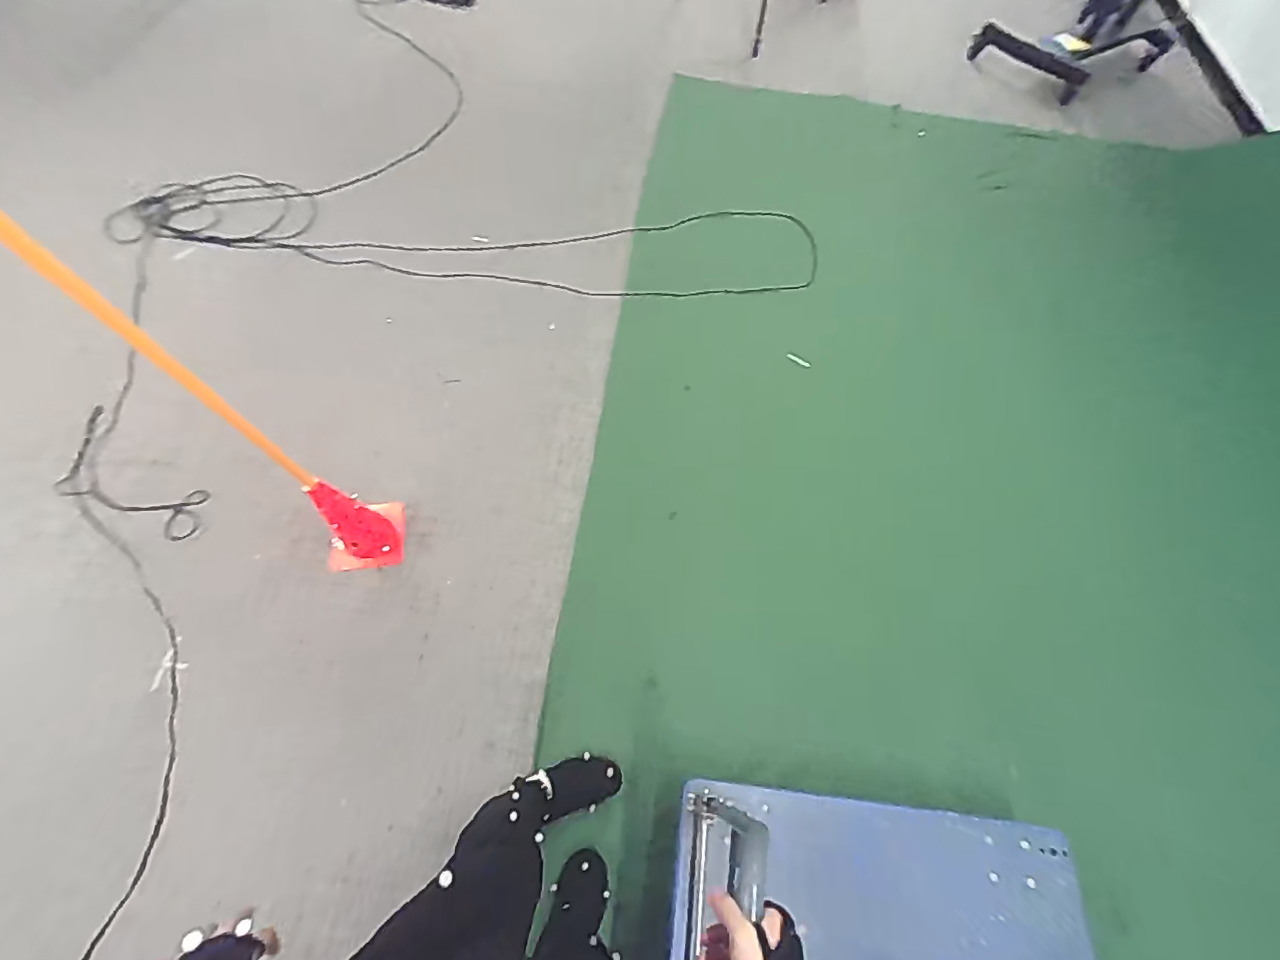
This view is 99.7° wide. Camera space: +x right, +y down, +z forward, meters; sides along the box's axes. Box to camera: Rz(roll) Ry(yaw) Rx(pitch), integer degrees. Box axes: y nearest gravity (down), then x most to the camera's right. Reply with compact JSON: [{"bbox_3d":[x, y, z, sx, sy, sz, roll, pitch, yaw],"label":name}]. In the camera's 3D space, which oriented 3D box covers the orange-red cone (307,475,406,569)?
[{"bbox_3d":[-0.783,0.083,1.434,0.198,0.360,0.199,-5,63,-7],"label":"orange-red cone"}]
